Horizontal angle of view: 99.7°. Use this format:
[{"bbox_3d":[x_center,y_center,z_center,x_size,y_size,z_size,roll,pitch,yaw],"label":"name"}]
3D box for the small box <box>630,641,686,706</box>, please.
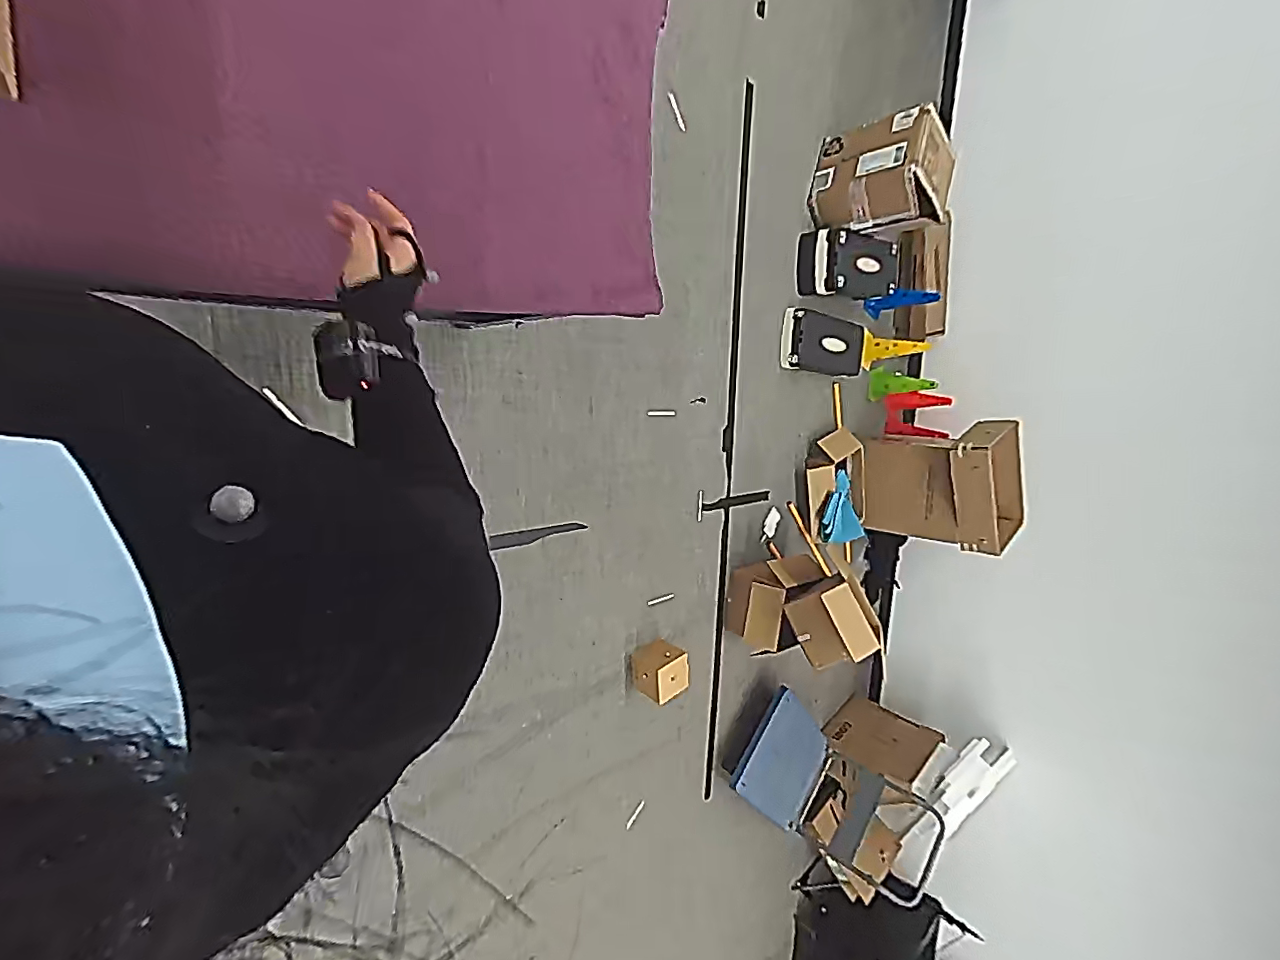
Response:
[{"bbox_3d":[0.071,0.805,2.263,0.179,0.176,0.168,-16,110,-41],"label":"small box"}]
